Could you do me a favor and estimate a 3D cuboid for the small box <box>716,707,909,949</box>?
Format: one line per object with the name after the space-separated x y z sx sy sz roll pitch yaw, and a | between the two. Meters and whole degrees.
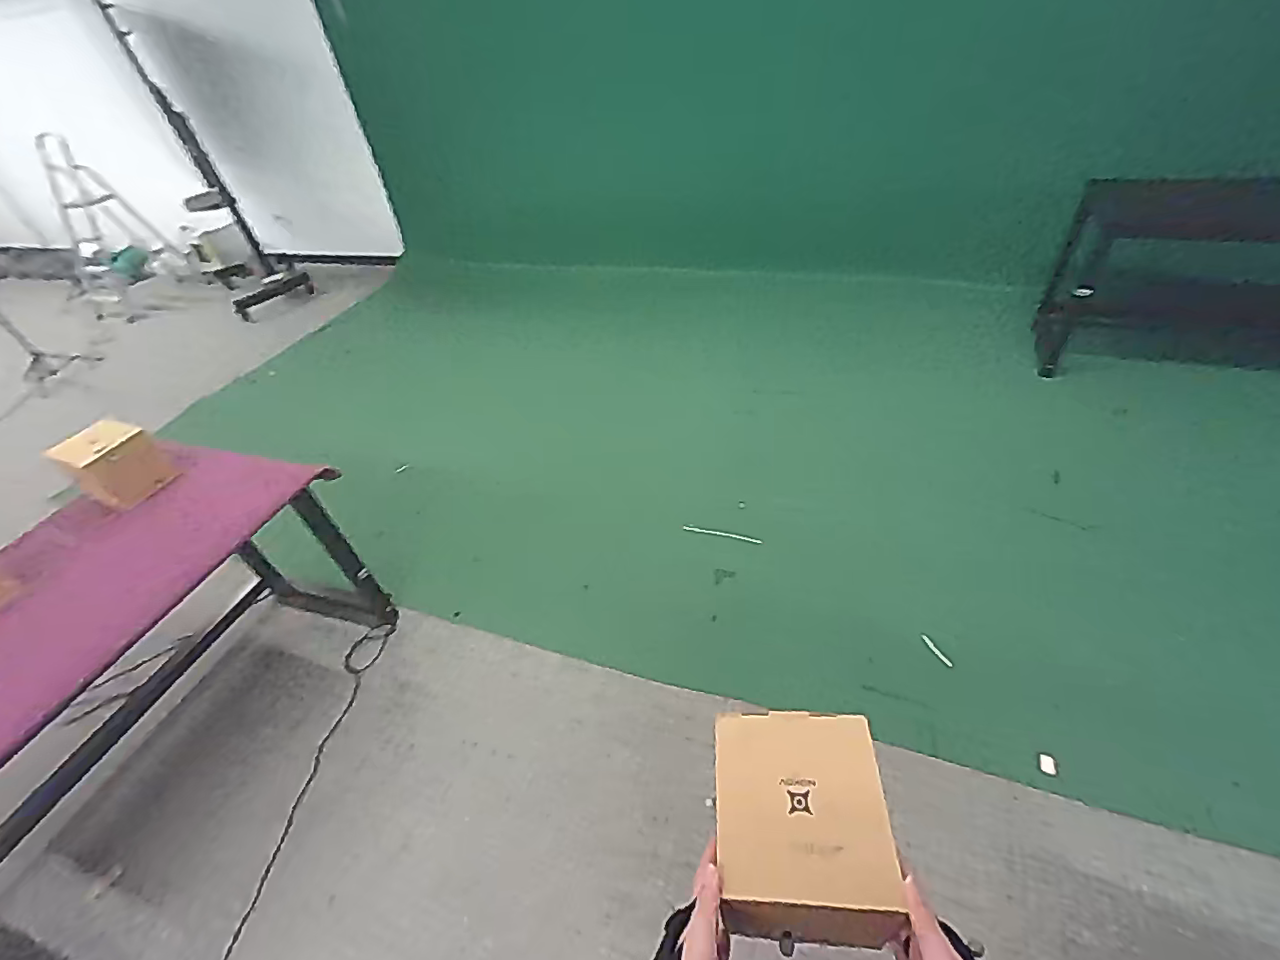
0.167 0.371 0.584 0.168 0.176 0.179 -2 41 9 | small box

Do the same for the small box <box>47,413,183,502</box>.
-1.437 -0.061 1.491 0.179 0.176 0.168 12 47 19 | small box
